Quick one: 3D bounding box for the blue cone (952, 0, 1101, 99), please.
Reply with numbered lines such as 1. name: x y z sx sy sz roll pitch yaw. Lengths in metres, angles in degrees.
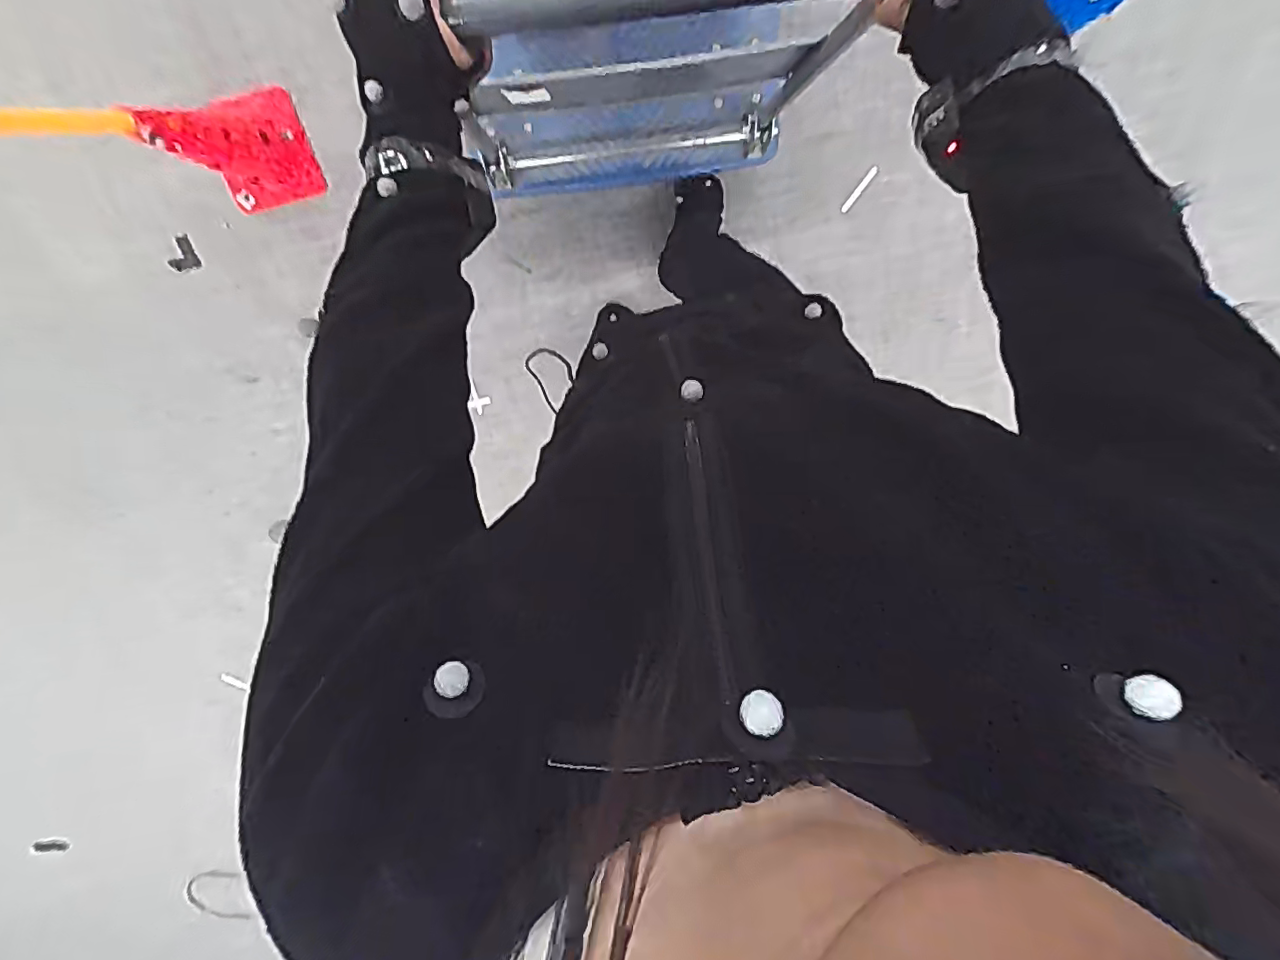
1. blue cone: 0.751 -0.846 0.964 0.193 0.380 0.192 -16 113 3
